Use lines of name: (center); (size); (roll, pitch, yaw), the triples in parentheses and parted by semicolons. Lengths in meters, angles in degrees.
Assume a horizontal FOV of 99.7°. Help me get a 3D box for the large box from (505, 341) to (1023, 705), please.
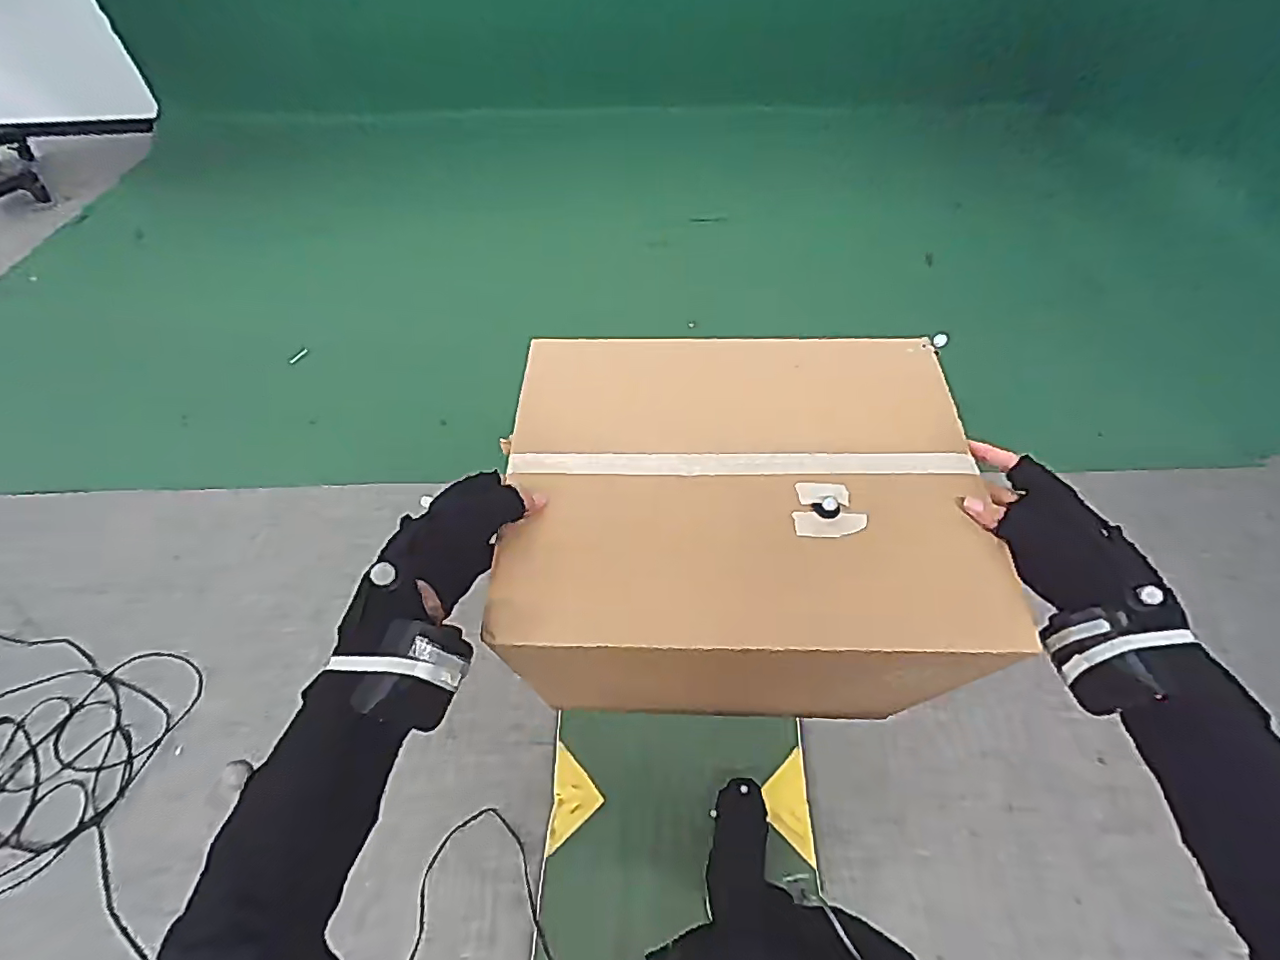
large box: (0.094, 0.064, 0.612); (0.408, 0.320, 0.320); (0, 59, 1)
